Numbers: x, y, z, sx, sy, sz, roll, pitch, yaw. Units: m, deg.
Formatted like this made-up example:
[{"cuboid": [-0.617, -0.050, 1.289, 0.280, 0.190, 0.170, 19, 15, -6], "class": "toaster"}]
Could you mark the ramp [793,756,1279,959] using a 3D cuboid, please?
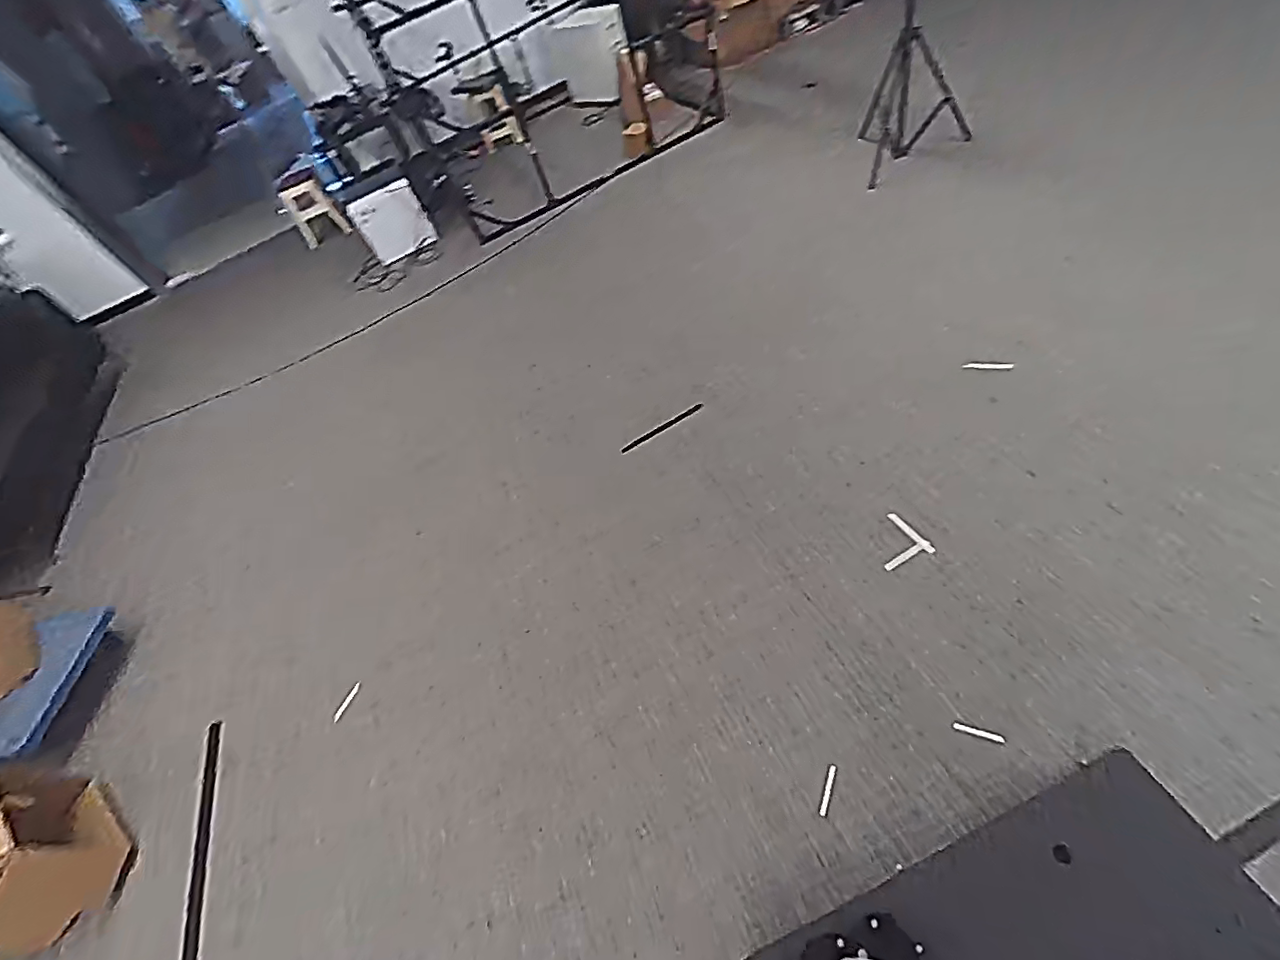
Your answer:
[{"cuboid": [0.756, 0.961, 0.989, 0.991, 0.206, 0.509, -30, 47, -5], "class": "ramp"}]
